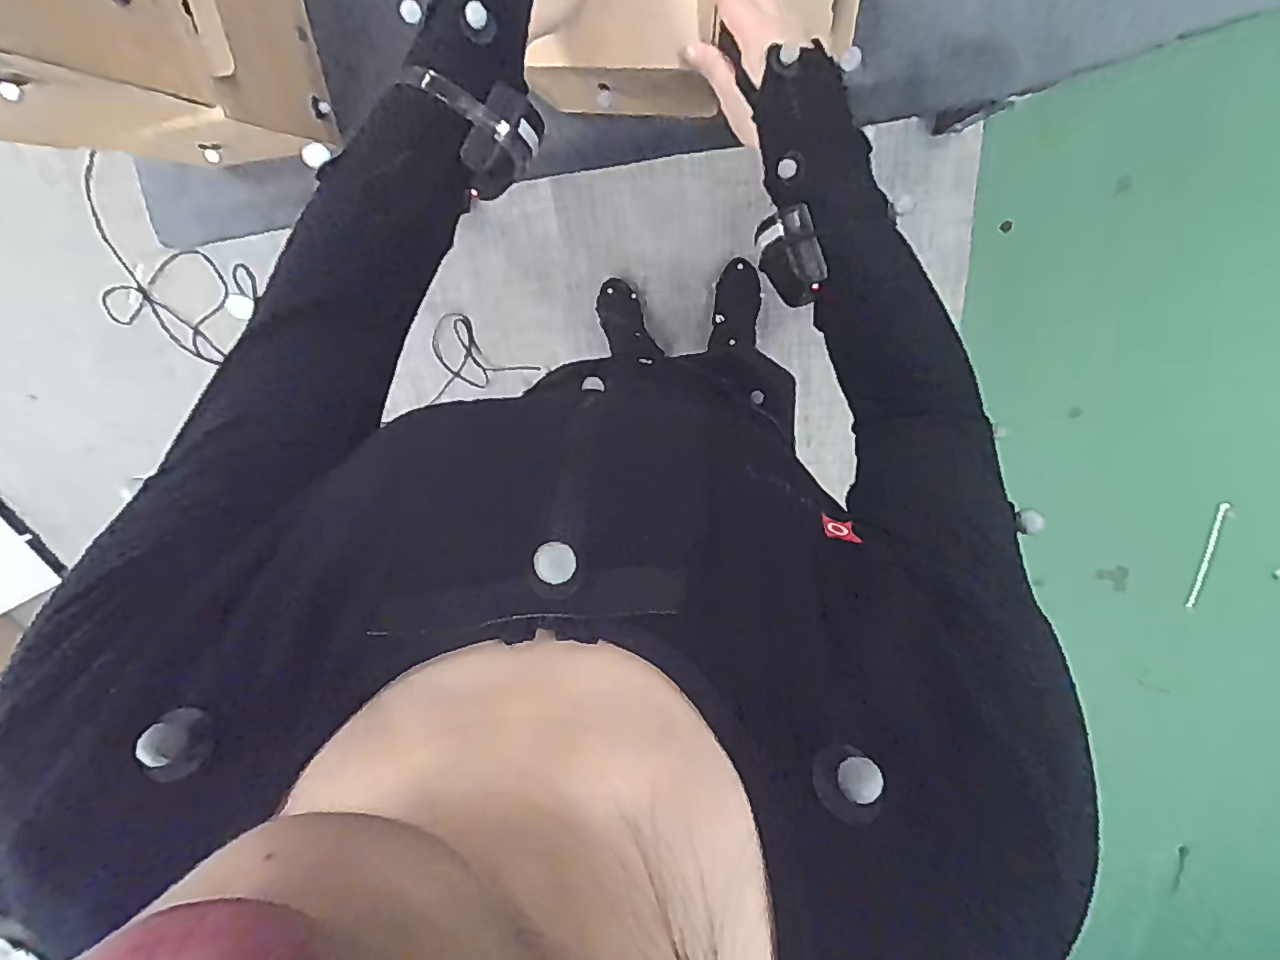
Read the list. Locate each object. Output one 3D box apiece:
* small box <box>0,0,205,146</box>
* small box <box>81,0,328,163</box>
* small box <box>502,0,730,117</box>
[{"bbox_3d":[-0.494,-0.369,0.403,0.179,0.176,0.168,-6,113,11],"label":"small box"},{"bbox_3d":[-0.455,-0.433,0.548,0.179,0.176,0.168,-2,114,10],"label":"small box"},{"bbox_3d":[-0.010,-0.435,0.477,0.179,0.176,0.168,6,115,6],"label":"small box"}]
